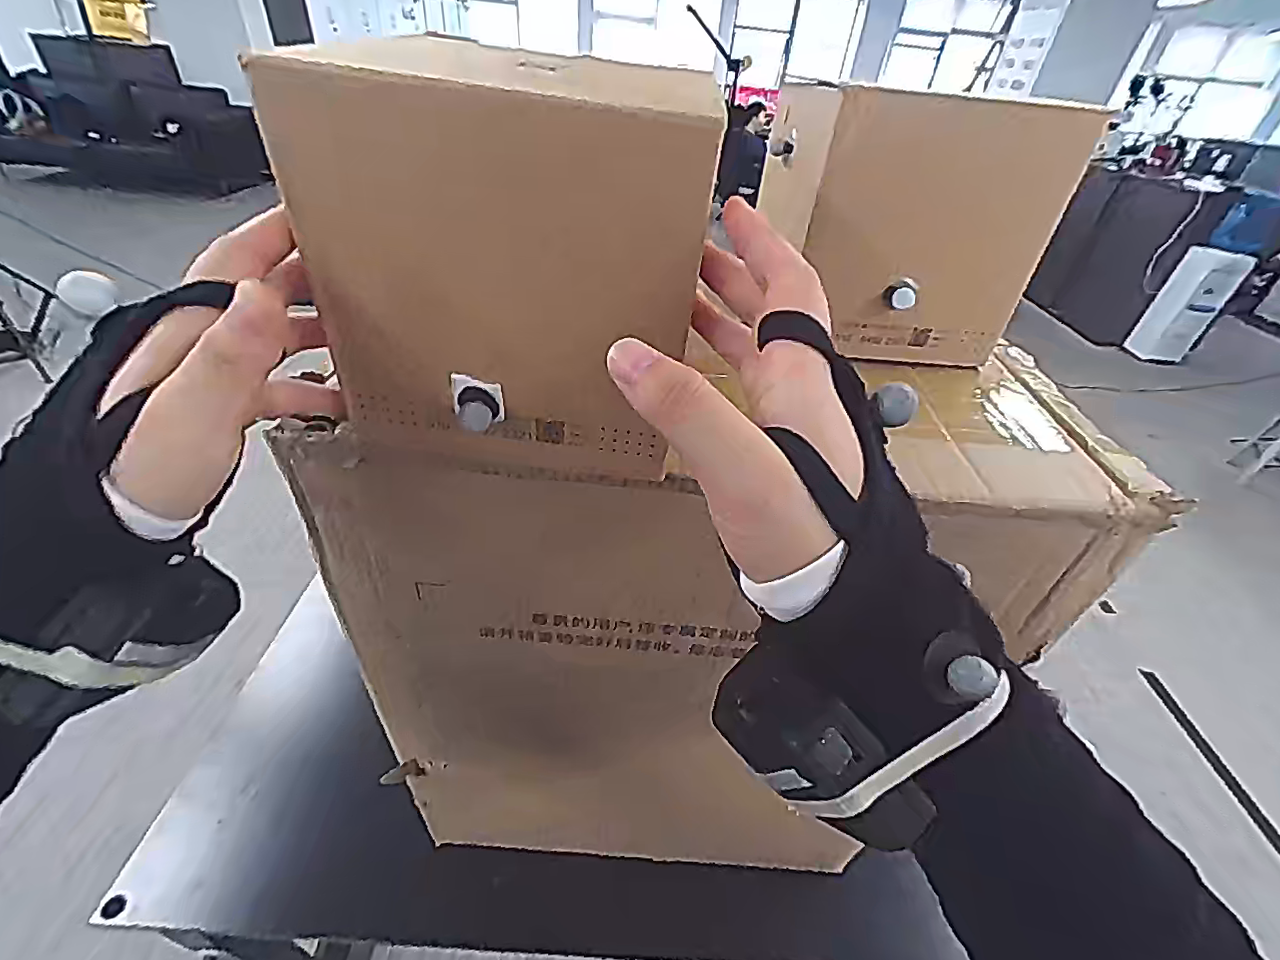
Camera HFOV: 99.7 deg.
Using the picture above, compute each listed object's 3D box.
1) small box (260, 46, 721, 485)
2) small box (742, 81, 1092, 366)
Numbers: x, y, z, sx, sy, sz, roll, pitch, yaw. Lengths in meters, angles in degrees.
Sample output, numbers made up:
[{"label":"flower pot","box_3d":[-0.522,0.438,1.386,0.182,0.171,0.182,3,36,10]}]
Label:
[{"label":"small box","box_3d":[-0.055,-0.121,0.302,0.168,0.176,0.179,5,42,-1]},{"label":"small box","box_3d":[0.186,-0.208,0.436,0.168,0.176,0.179,2,37,-2]}]
